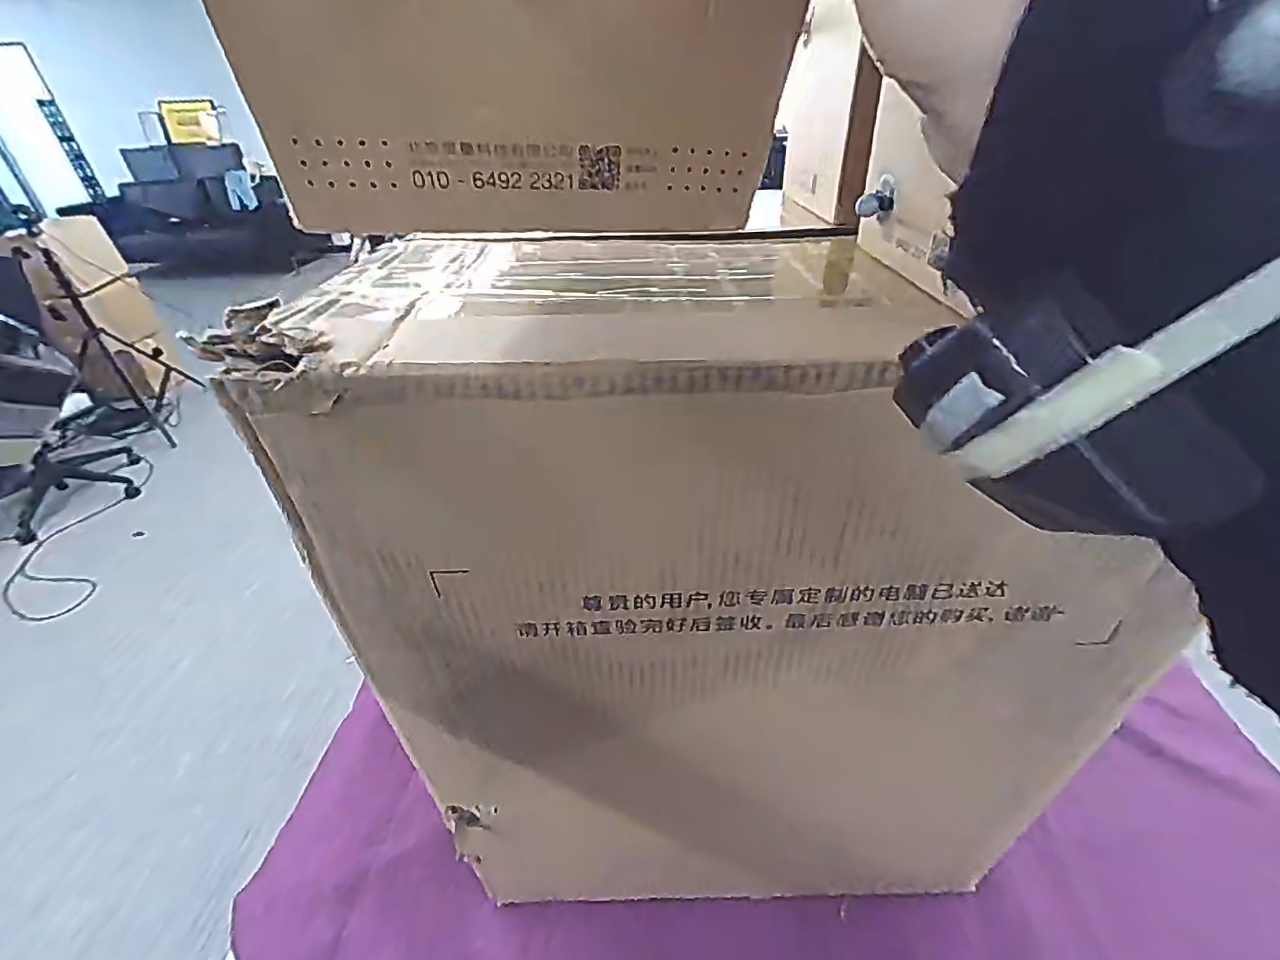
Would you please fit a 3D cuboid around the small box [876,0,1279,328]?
[{"bbox_3d":[0.224,-0.175,0.241,0.179,0.176,0.168,-4,36,0],"label":"small box"}]

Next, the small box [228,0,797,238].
[{"bbox_3d":[-0.043,-0.204,0.188,0.168,0.176,0.179,-6,55,-11],"label":"small box"}]
